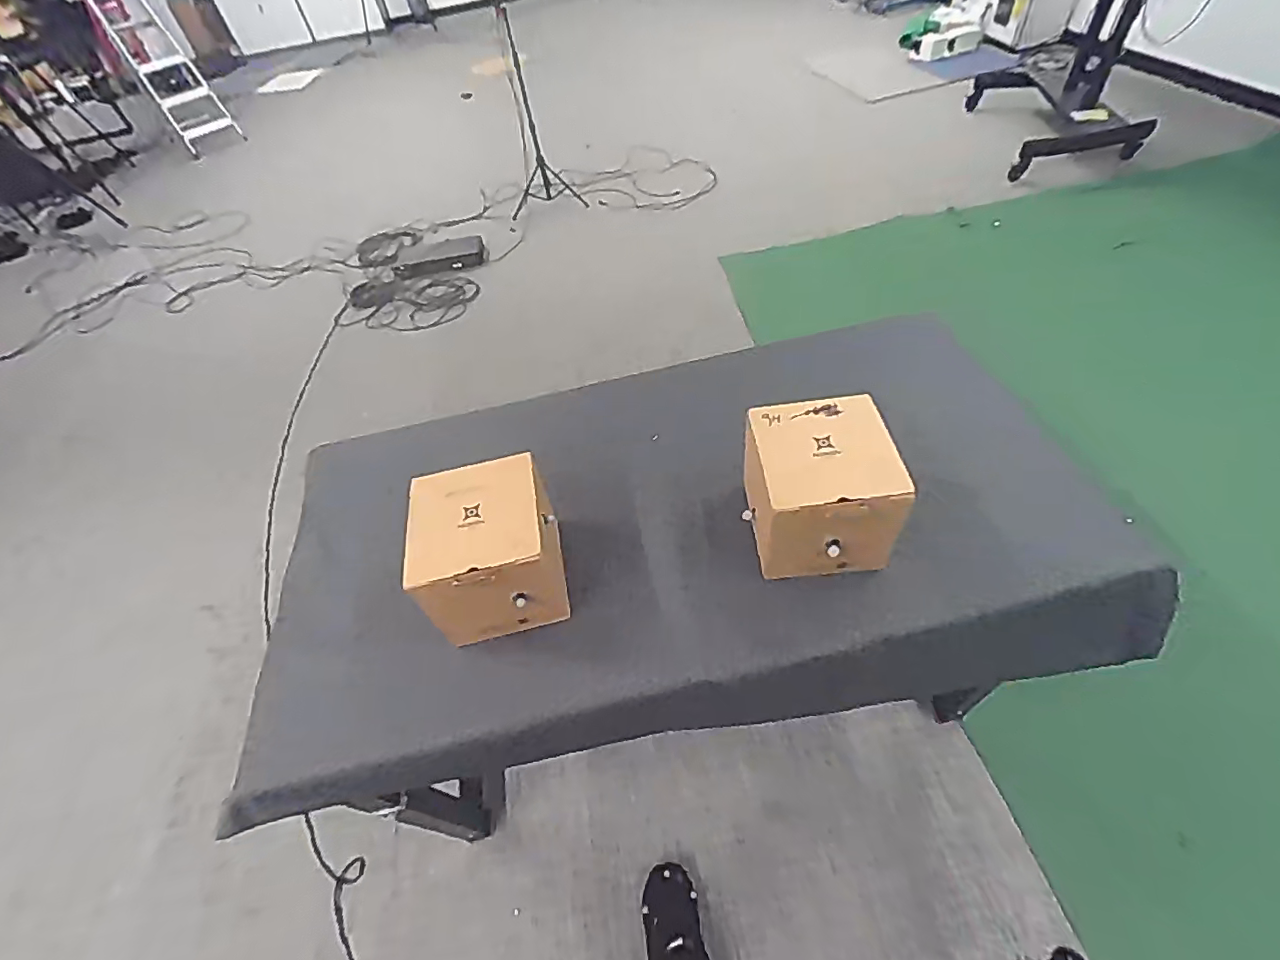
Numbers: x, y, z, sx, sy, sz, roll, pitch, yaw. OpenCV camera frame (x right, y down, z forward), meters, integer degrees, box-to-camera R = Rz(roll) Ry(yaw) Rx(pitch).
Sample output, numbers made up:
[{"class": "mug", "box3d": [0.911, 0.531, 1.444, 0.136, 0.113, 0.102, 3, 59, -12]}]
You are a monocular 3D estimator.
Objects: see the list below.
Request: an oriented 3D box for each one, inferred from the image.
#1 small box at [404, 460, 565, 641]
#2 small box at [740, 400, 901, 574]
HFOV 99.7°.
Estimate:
[{"class": "small box", "box3d": [-0.207, 0.105, 0.751, 0.168, 0.176, 0.179, -13, 49, -4]}, {"class": "small box", "box3d": [0.233, 0.018, 0.748, 0.168, 0.176, 0.179, -7, 51, 4]}]
